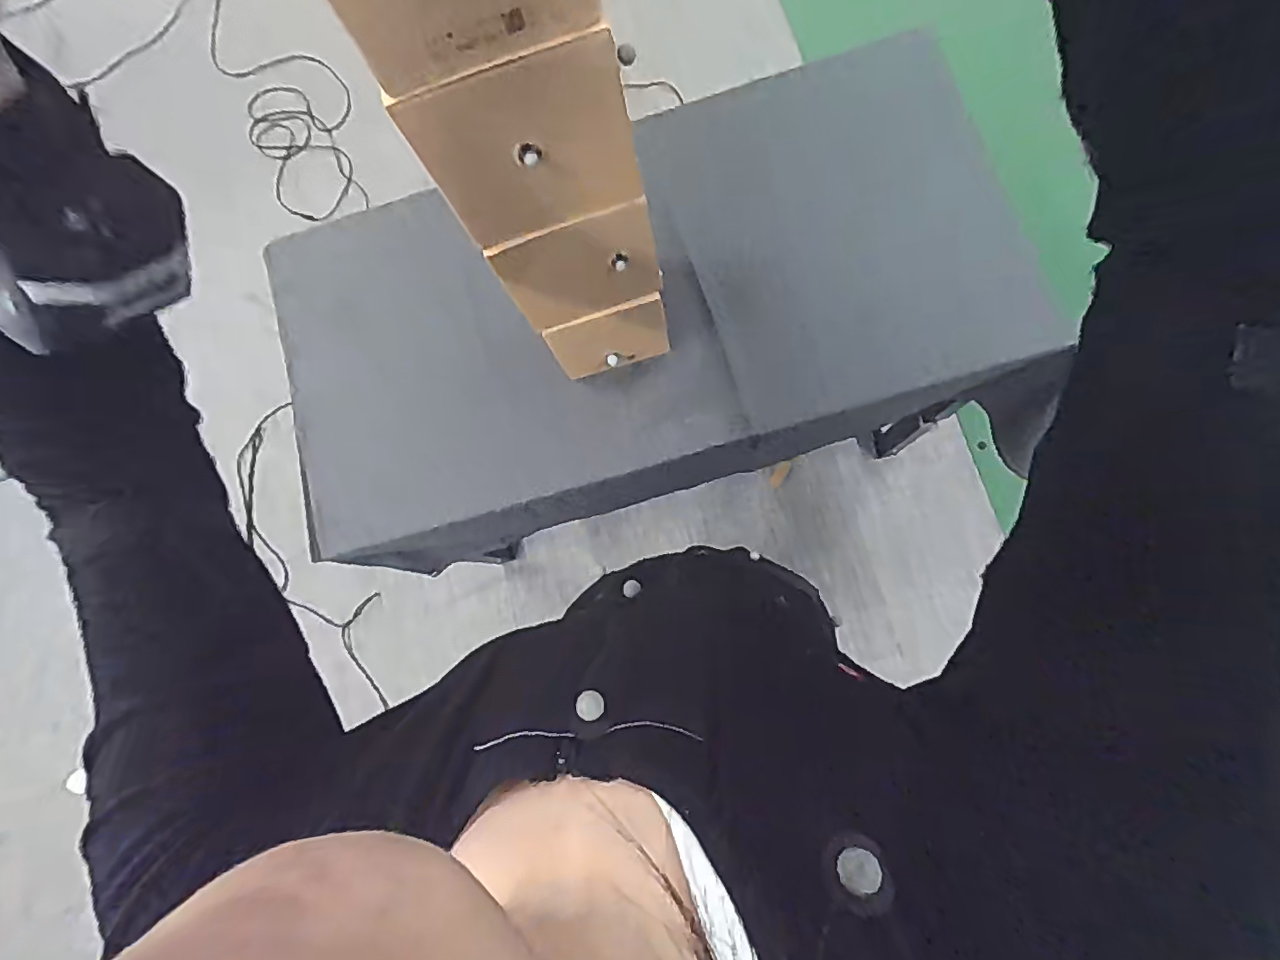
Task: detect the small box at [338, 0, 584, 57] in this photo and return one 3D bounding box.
[{"bbox_3d":[-0.137,-0.401,0.322,0.168,0.176,0.179,-17,77,4],"label":"small box"}]

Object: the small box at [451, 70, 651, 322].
[{"bbox_3d":[-0.090,-0.315,0.633,0.179,0.176,0.168,-18,76,4],"label":"small box"}]

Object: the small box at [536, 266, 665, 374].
[{"bbox_3d":[-0.065,-0.282,0.791,0.168,0.176,0.179,-15,78,4],"label":"small box"}]
